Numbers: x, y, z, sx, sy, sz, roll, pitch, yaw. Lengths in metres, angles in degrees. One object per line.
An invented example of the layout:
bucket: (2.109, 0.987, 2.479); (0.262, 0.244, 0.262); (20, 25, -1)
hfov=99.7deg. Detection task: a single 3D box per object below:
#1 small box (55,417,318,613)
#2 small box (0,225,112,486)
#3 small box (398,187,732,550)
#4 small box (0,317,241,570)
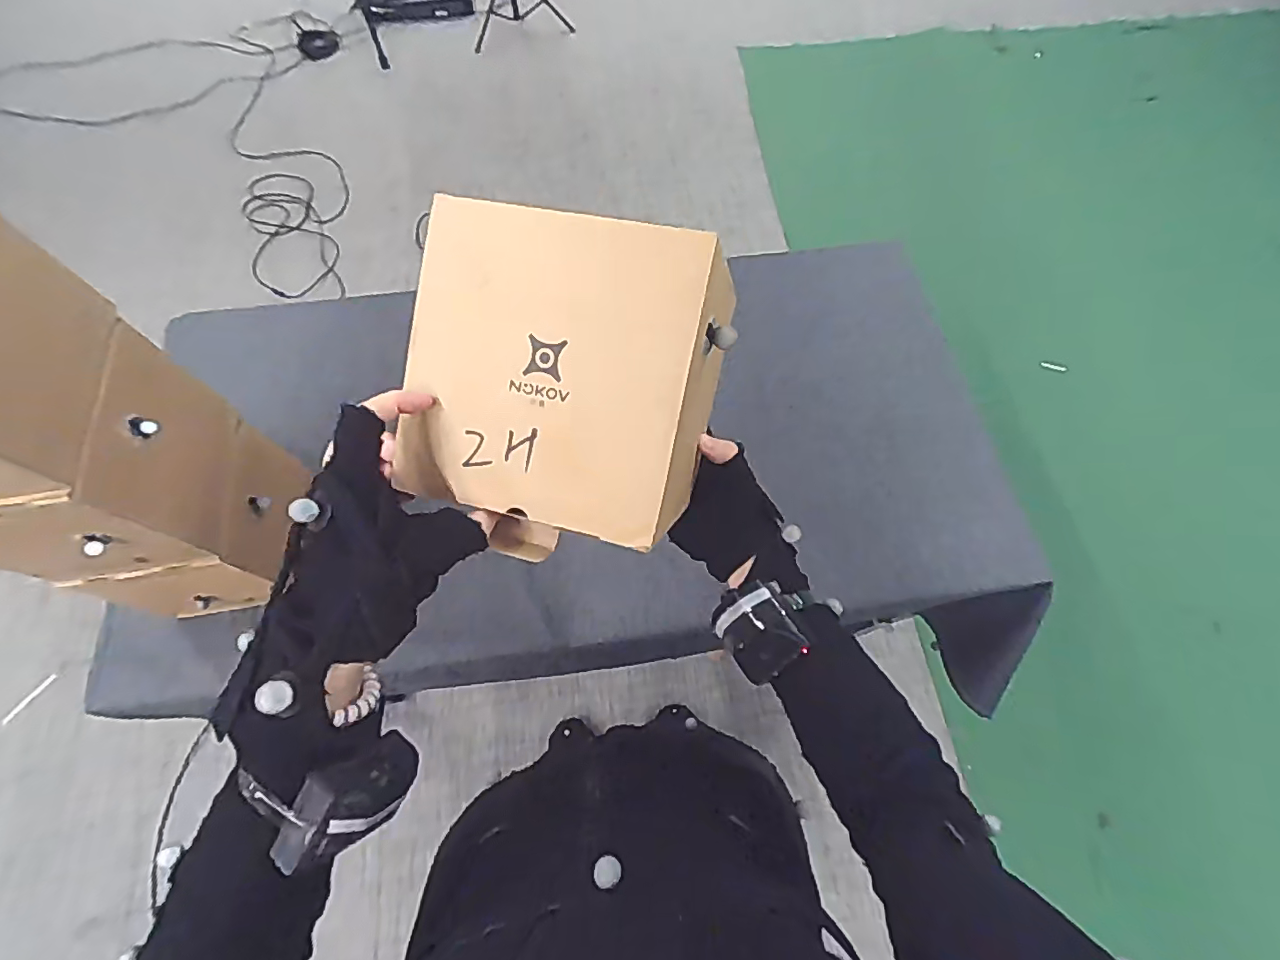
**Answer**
small box: (-0.517, 0.048, 0.652); (0.168, 0.176, 0.179); (-9, 67, -4)
small box: (-0.515, -0.095, 0.358); (0.168, 0.176, 0.179); (-9, 66, -5)
small box: (-0.035, -0.072, 0.382); (0.168, 0.176, 0.179); (15, 100, 12)
small box: (-0.515, -0.022, 0.505); (0.168, 0.176, 0.179); (-7, 66, -4)
